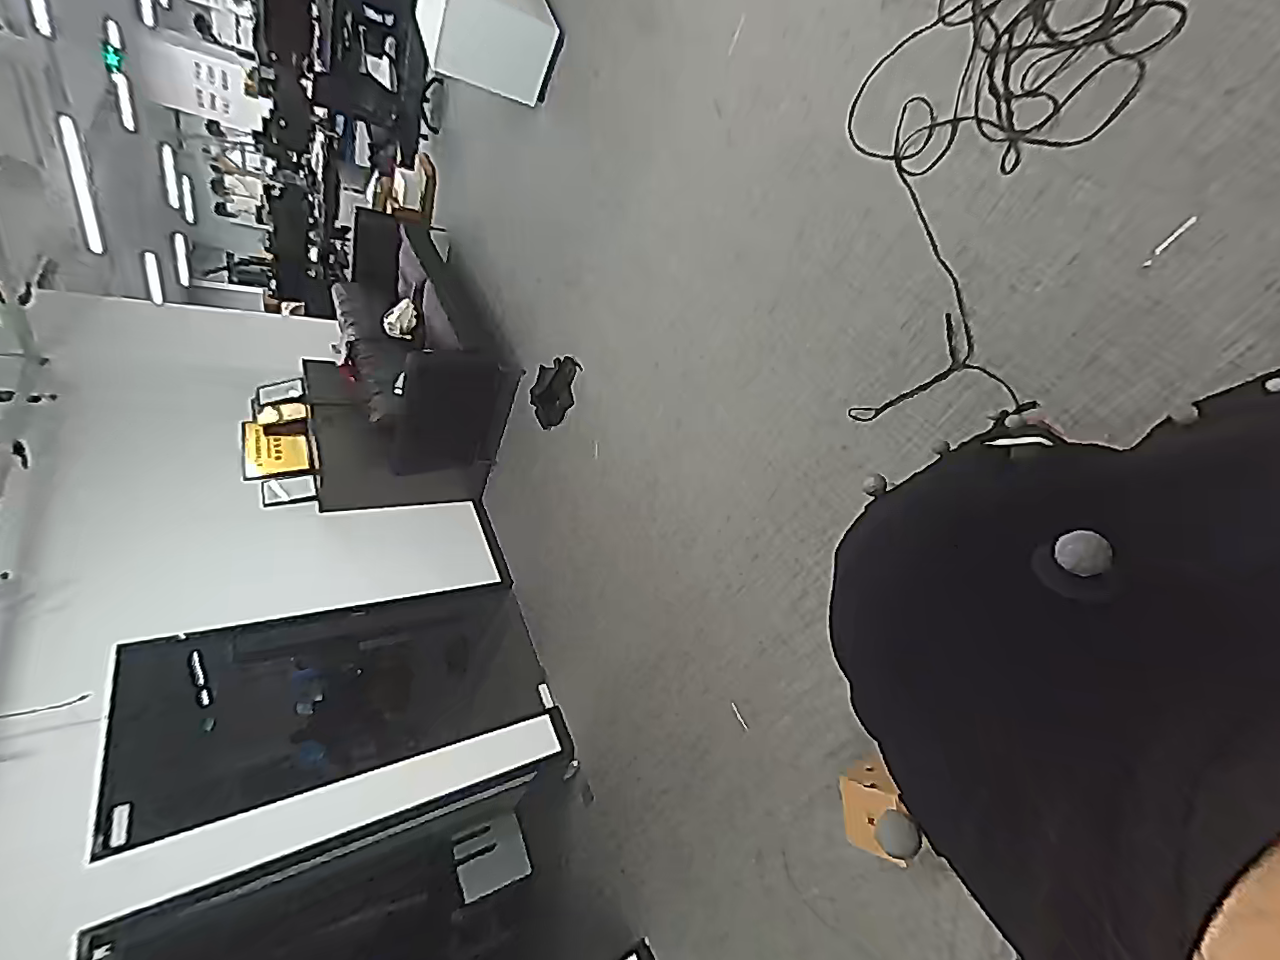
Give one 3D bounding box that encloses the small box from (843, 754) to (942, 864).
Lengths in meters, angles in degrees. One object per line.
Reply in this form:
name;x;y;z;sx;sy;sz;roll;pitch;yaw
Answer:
small box;0.672;0.861;1.439;0.168;0.176;0.179;-15;81;56
